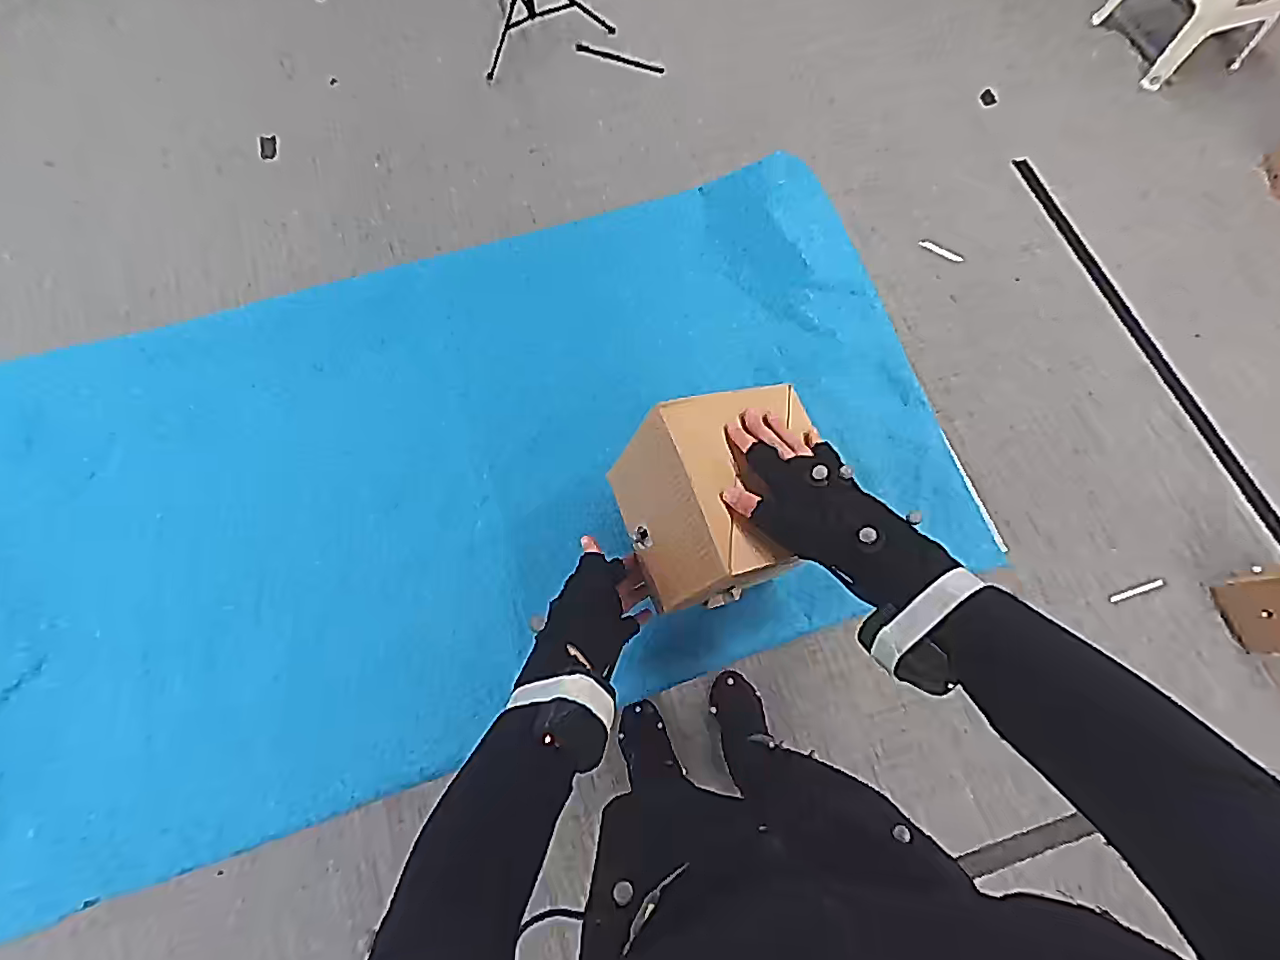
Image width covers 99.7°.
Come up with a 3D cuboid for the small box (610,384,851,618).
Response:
[{"bbox_3d":[0.092,0.023,0.580,0.168,0.176,0.179,-12,69,-28],"label":"small box"}]

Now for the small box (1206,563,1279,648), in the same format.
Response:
[{"bbox_3d":[1.546,0.297,1.293,0.168,0.176,0.179,-15,73,-6],"label":"small box"}]
